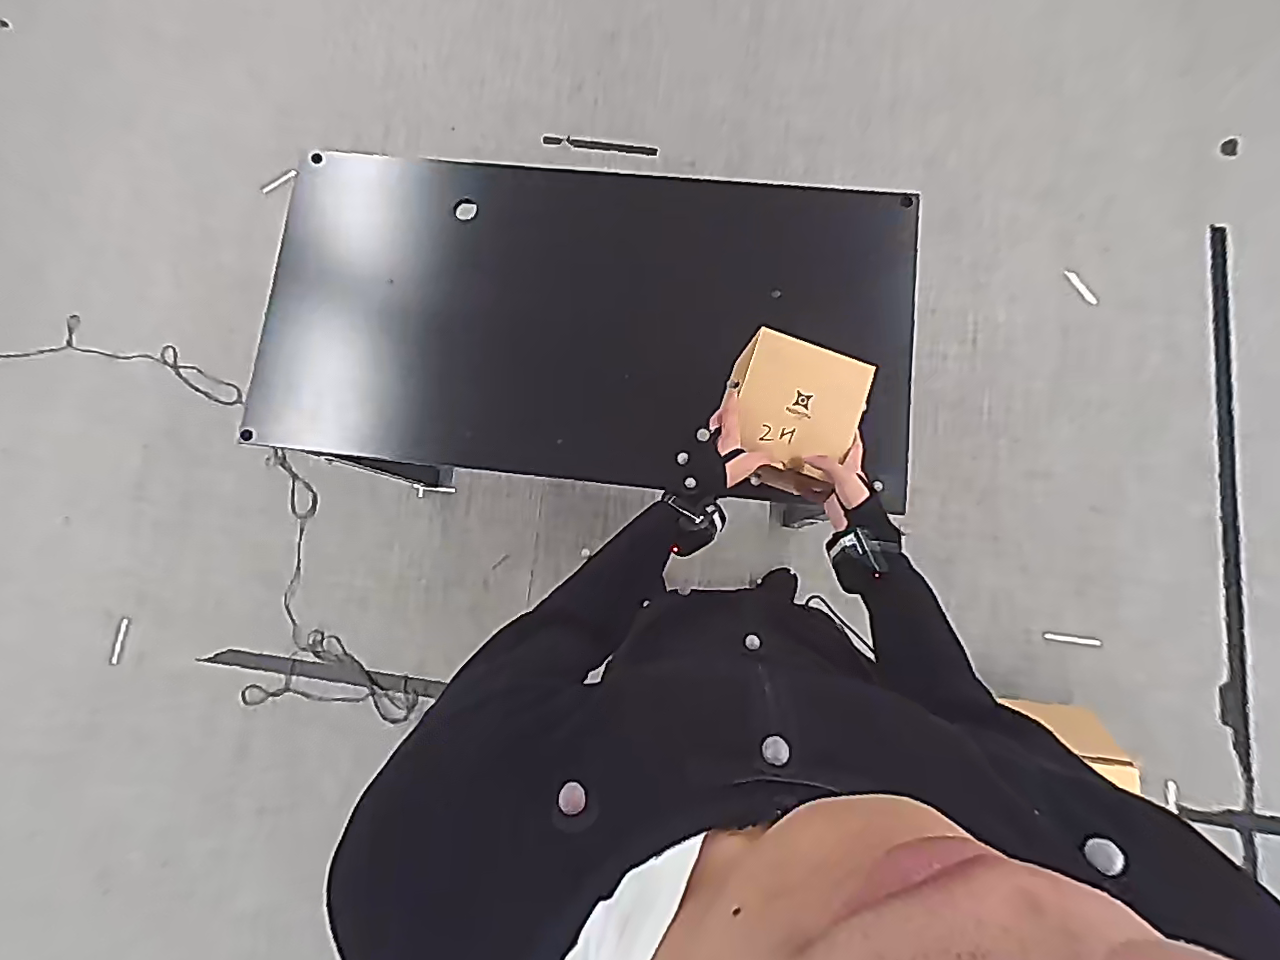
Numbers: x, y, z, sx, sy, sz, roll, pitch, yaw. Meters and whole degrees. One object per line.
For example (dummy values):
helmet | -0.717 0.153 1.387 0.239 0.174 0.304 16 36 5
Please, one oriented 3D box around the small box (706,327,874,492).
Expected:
small box | 0.206 -0.091 0.792 0.168 0.176 0.179 20 85 0
